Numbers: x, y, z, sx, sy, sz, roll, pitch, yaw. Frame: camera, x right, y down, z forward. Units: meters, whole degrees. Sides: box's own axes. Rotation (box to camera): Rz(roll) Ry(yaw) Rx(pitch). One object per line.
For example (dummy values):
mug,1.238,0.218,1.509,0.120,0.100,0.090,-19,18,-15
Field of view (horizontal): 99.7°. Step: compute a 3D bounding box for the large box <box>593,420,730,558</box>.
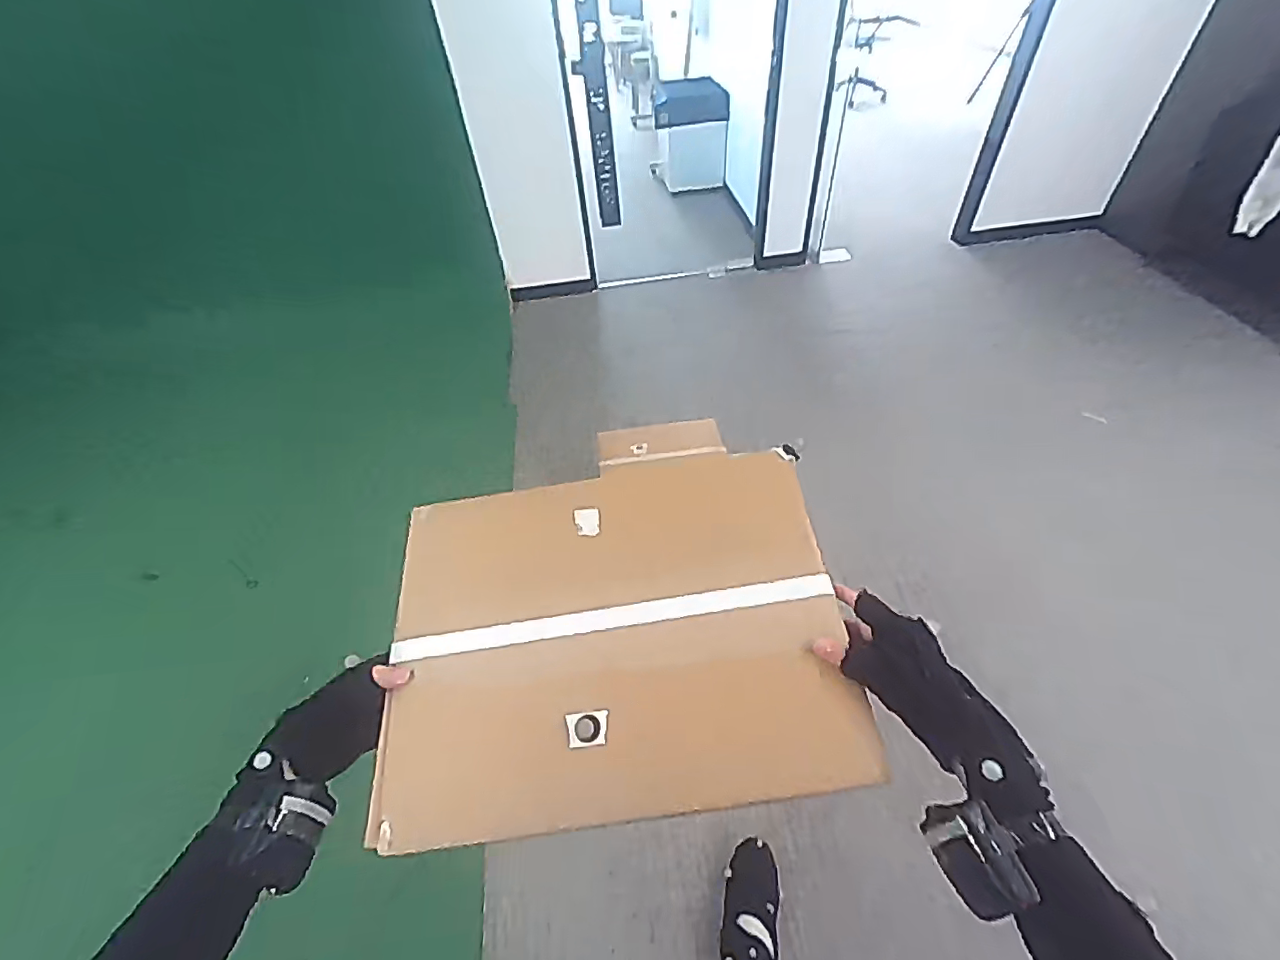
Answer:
large box,0.068,0.034,1.819,0.408,0.320,0.320,-7,47,-1
